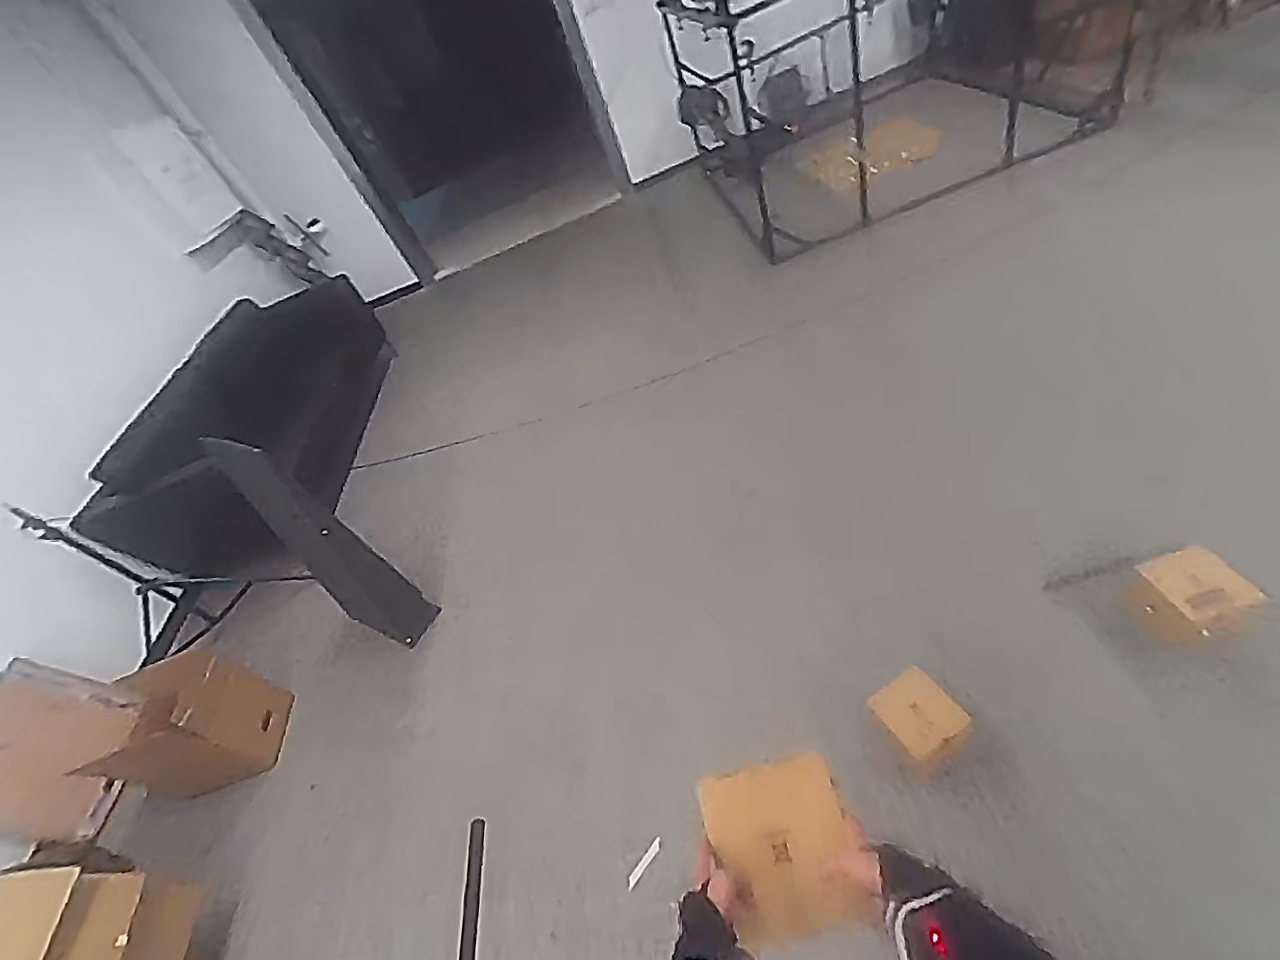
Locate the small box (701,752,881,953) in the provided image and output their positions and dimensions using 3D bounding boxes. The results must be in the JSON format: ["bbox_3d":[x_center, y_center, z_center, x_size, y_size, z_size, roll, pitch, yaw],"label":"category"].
[{"bbox_3d":[0.189,0.468,0.707,0.168,0.176,0.179,-17,61,4],"label":"small box"}]

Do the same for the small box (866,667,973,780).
[{"bbox_3d":[0.704,0.619,1.372,0.168,0.176,0.179,-33,42,-6],"label":"small box"}]
